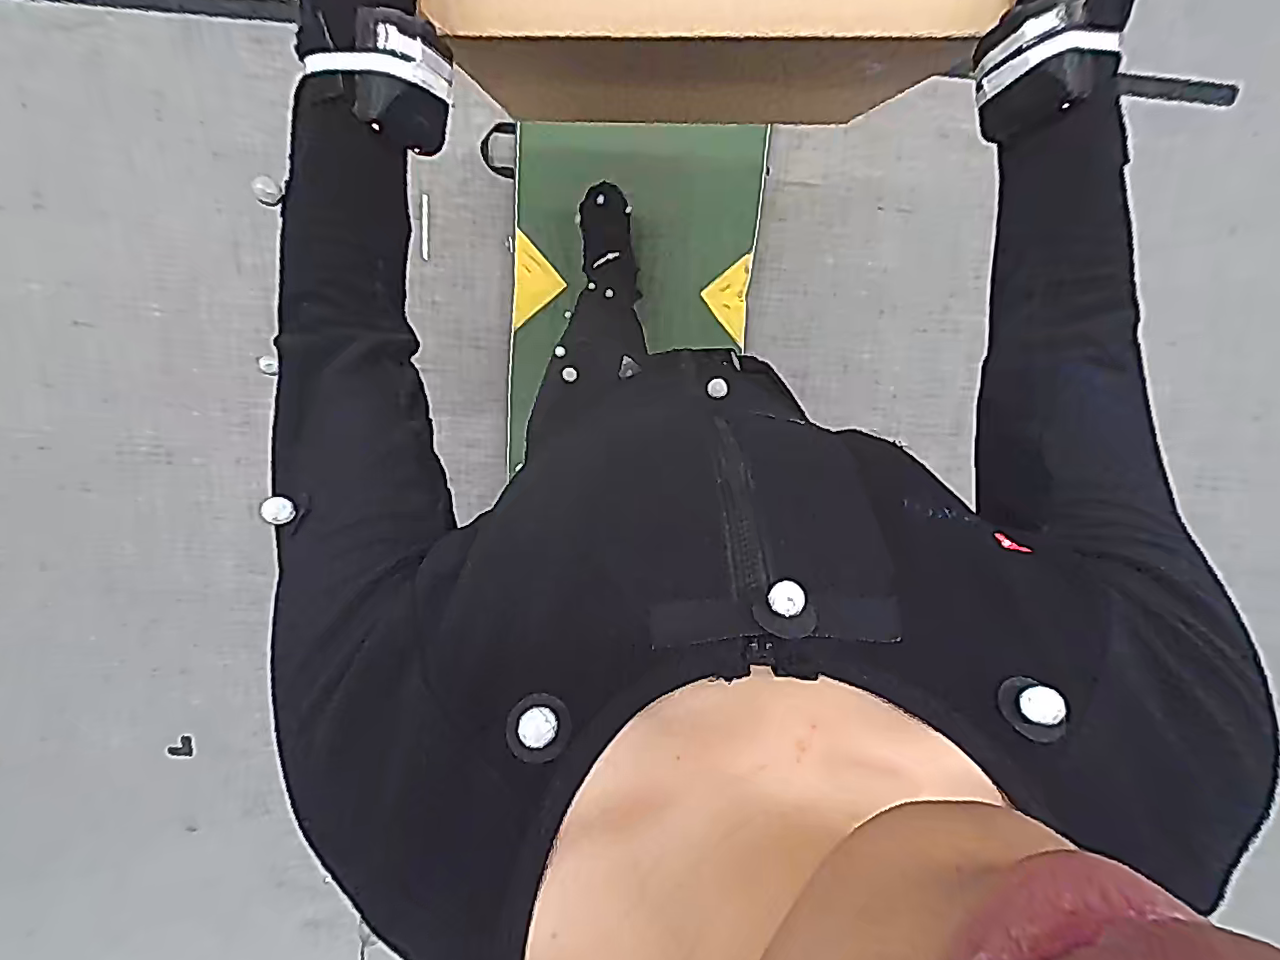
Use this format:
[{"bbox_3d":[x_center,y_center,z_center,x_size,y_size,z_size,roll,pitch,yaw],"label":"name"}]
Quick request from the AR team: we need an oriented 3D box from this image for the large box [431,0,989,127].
[{"bbox_3d":[0.043,-0.519,0.464,0.408,0.320,0.320,-1,114,-1],"label":"large box"}]
